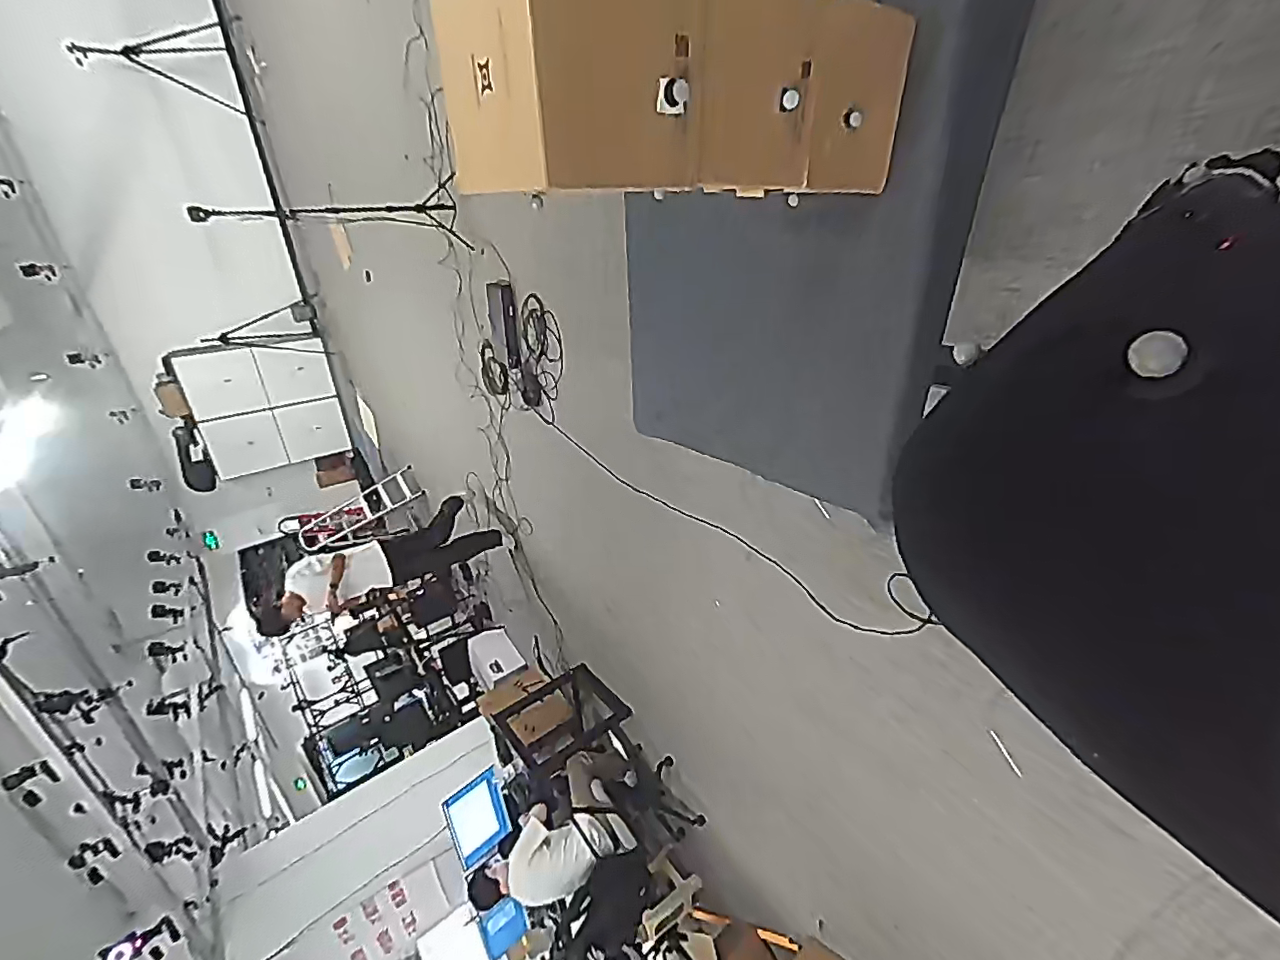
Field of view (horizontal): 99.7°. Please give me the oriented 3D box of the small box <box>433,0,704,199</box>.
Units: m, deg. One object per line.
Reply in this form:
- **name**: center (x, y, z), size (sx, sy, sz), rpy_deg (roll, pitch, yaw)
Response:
- **small box**: center (-0.063, -0.350, 0.494), size (0.179, 0.176, 0.168), rpy_deg (29, 131, 45)

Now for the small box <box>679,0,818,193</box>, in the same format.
- **small box**: center (0.061, -0.405, 0.583), size (0.179, 0.176, 0.168), rpy_deg (31, 131, 47)

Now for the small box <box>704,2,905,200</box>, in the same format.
- **small box**: center (0.196, -0.449, 0.666), size (0.168, 0.176, 0.179), rpy_deg (31, 132, 44)
